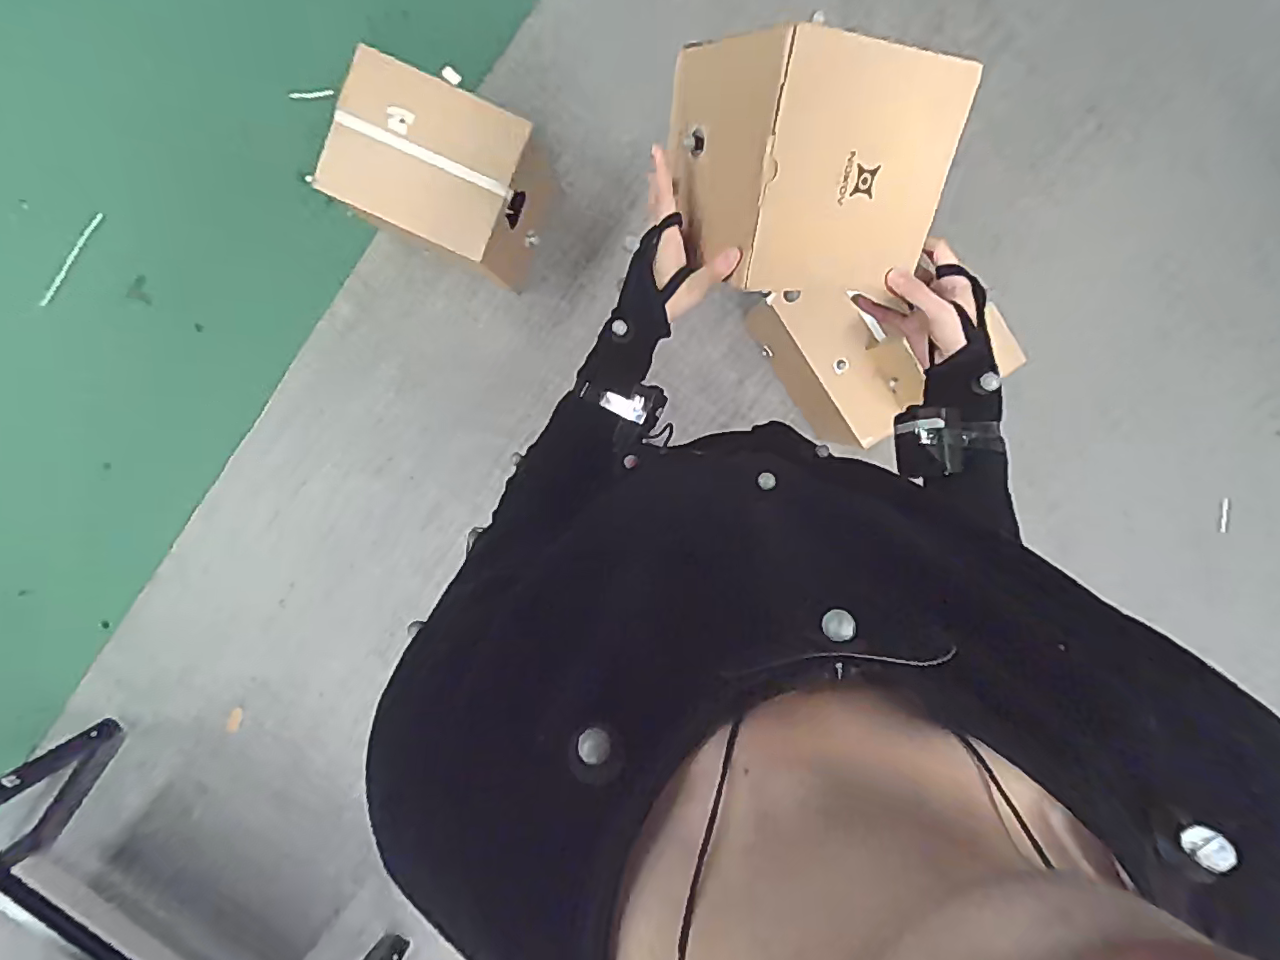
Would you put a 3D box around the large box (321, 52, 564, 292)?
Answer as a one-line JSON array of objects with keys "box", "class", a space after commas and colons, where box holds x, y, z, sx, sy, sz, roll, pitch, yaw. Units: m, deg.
[{"box": [-0.445, -0.702, 1.301, 0.408, 0.320, 0.320, 25, 96, 0], "class": "large box"}]

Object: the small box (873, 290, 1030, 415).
[{"box": [0.602, -0.243, 1.069, 0.179, 0.176, 0.168, -33, 94, 4], "class": "small box"}]

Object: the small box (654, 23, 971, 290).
[{"box": [0.130, -0.270, 0.472, 0.179, 0.176, 0.168, -8, 123, -20], "class": "small box"}]
